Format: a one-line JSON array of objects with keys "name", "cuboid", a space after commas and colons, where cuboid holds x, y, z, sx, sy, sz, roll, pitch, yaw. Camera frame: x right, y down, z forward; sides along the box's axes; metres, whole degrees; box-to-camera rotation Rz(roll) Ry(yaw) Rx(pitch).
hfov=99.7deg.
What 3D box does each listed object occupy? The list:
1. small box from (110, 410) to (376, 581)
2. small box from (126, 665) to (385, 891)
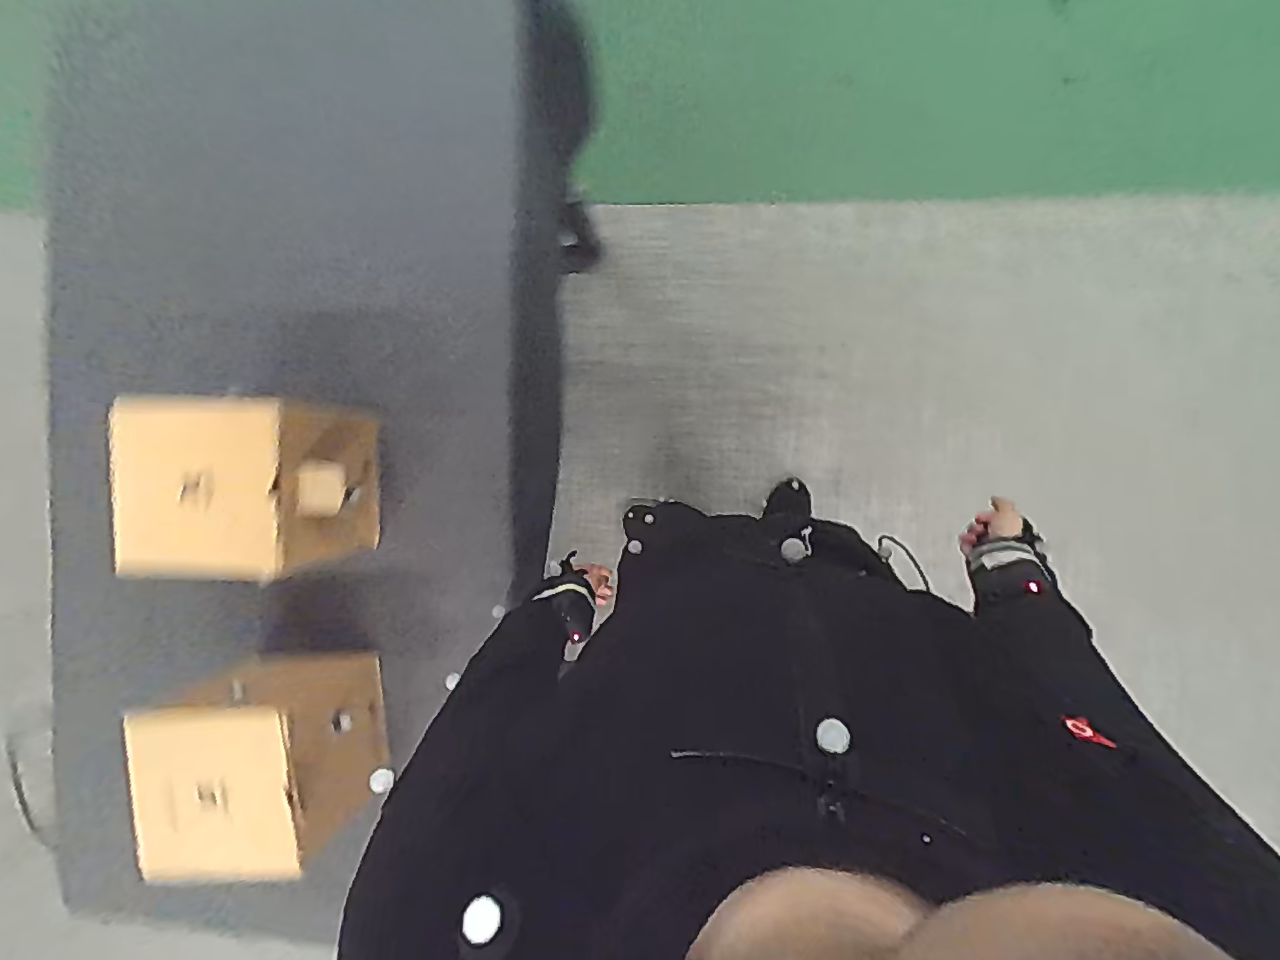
[{"name": "small box", "cuboid": [-0.424, 0.013, 0.602, 0.179, 0.176, 0.168, 0, 92, 5]}, {"name": "small box", "cuboid": [-0.412, 0.320, 0.613, 0.179, 0.176, 0.168, -6, 90, 6]}]
